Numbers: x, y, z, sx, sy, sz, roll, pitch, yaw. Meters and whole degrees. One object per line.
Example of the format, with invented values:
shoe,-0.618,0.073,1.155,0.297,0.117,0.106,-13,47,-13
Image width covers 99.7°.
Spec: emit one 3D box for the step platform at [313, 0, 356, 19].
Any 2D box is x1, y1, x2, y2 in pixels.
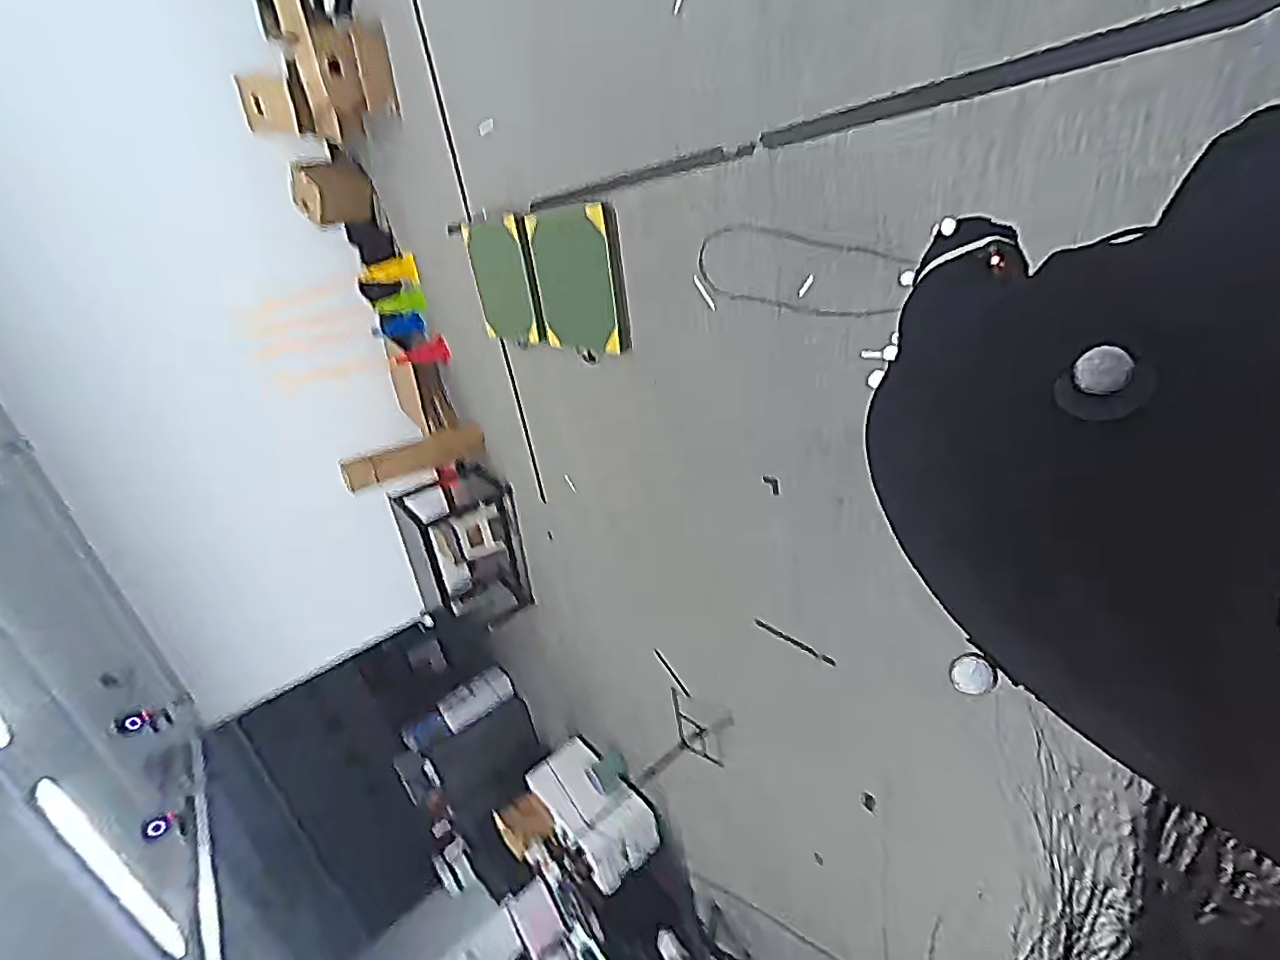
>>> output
step platform,-1.851,-3.027,3.058,0.286,0.204,0.684,-26,90,56
